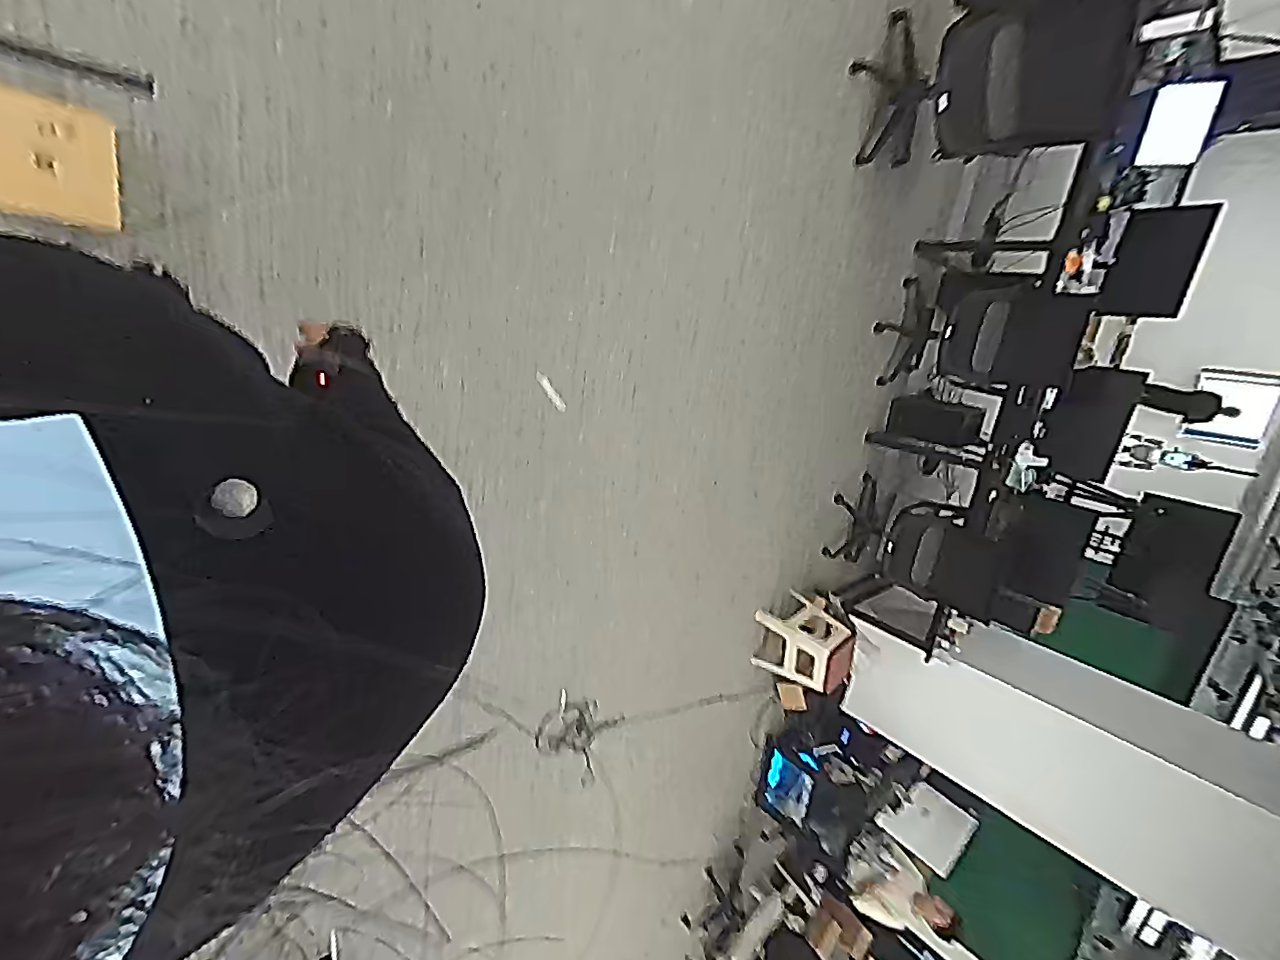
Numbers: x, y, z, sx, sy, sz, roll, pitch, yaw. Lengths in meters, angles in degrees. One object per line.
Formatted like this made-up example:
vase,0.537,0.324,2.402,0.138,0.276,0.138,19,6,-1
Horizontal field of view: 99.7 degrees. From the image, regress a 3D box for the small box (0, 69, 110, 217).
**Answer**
small box,-0.990,-0.547,0.888,0.168,0.176,0.179,-3,109,-44
